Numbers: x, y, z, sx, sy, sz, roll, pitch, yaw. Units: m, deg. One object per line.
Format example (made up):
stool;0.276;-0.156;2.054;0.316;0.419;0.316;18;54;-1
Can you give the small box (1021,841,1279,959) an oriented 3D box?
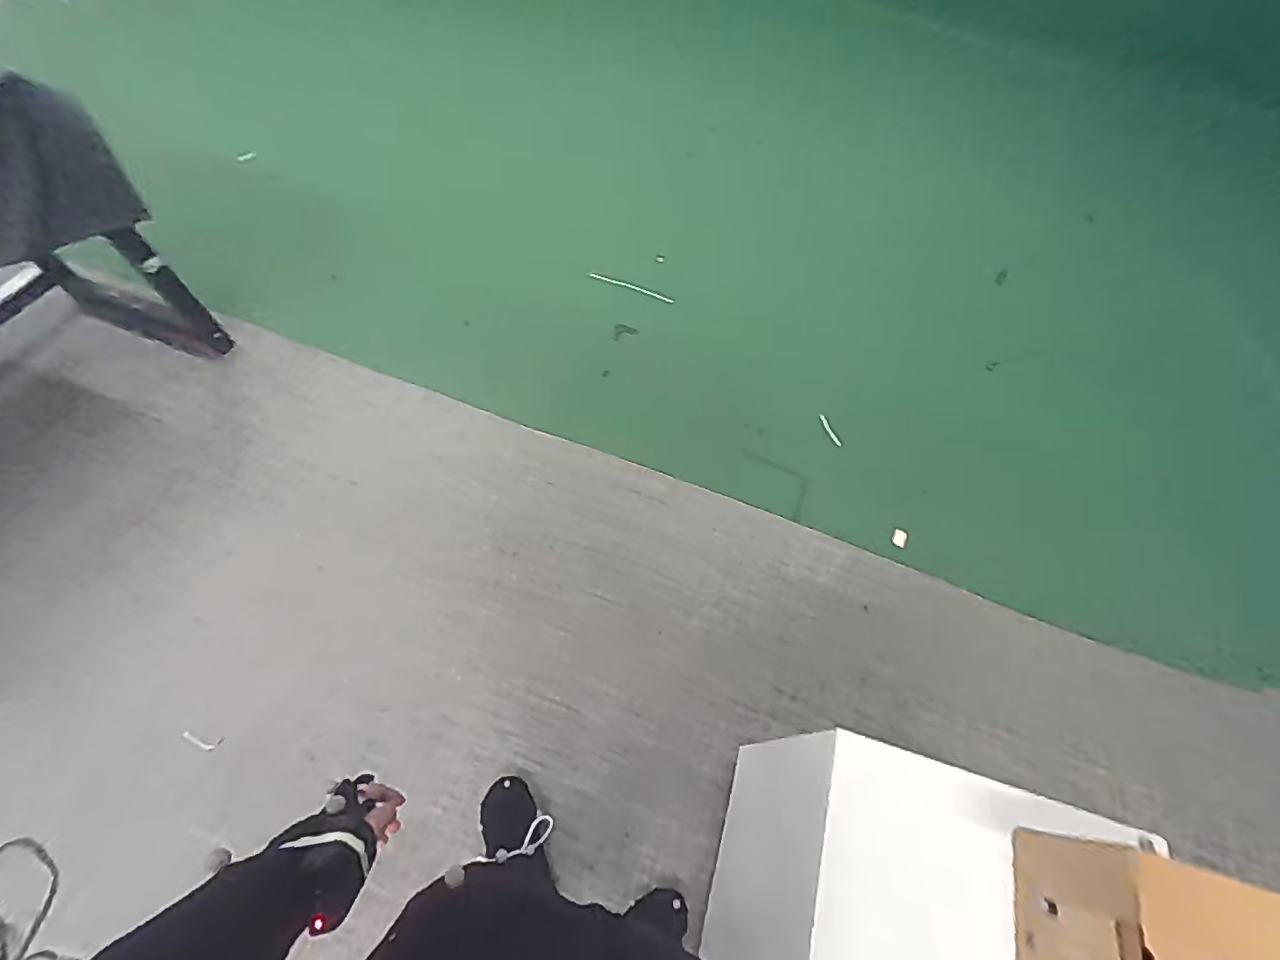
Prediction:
small box;0.504;0.466;0.512;0.179;0.176;0.168;16;62;7
